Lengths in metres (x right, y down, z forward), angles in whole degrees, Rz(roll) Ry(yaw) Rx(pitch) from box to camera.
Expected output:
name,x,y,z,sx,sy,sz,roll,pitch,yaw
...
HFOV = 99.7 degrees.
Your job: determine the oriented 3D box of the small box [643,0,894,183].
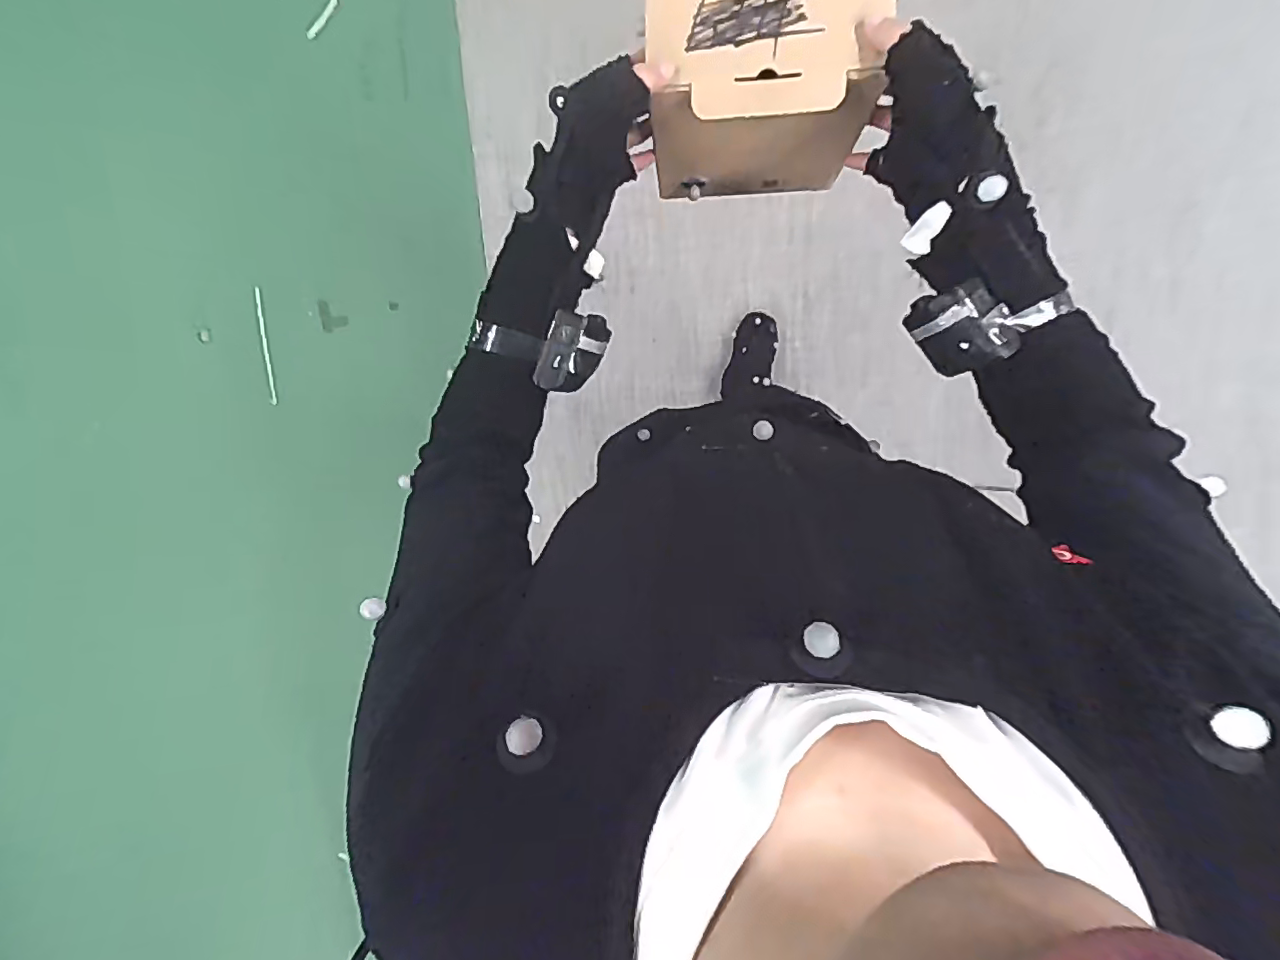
name,x,y,z,sx,sy,sz,roll,pitch,yaw
small box,0.091,-0.361,0.434,0.168,0.176,0.179,-1,93,5
